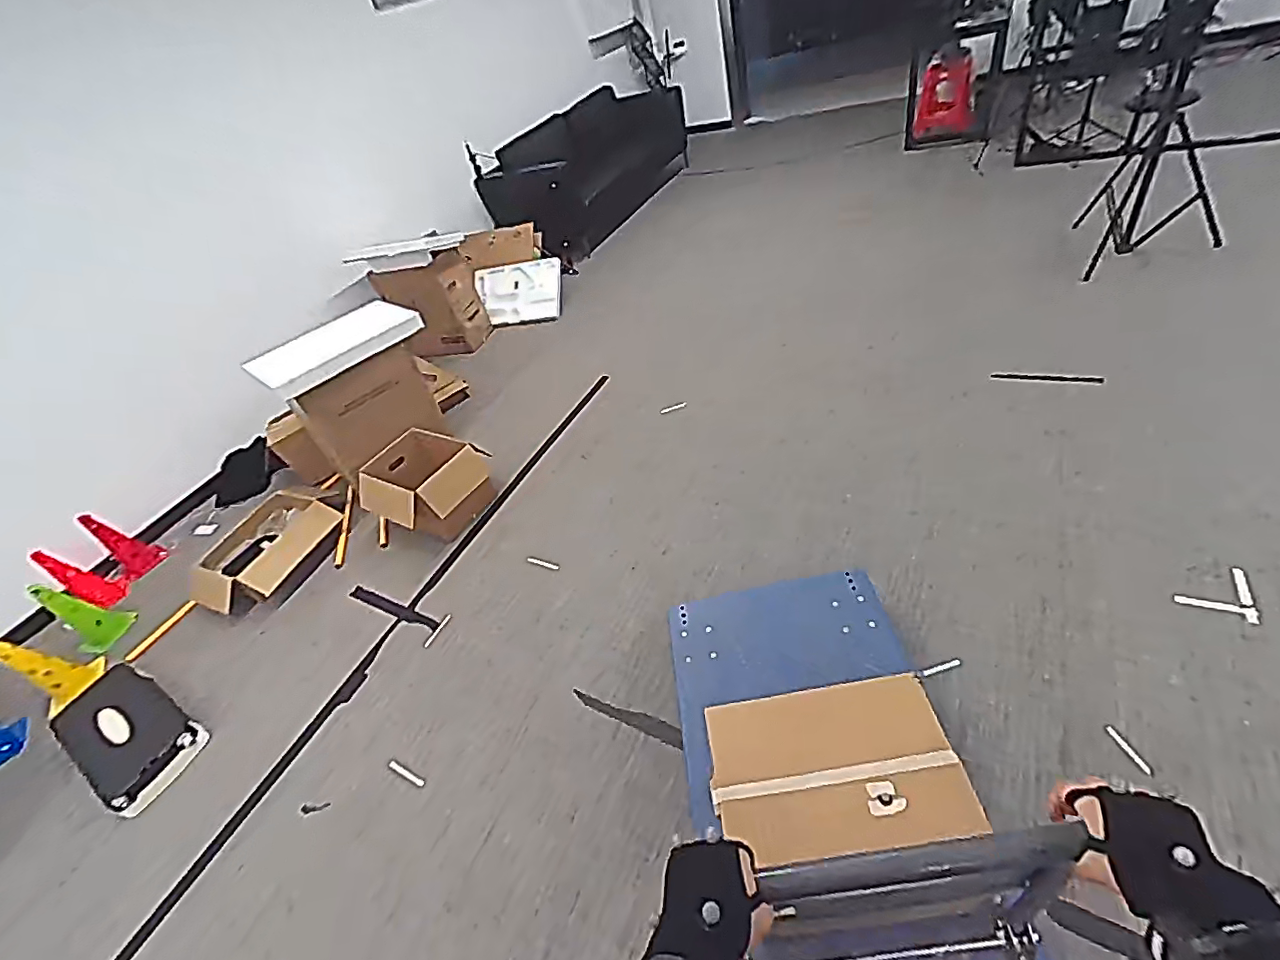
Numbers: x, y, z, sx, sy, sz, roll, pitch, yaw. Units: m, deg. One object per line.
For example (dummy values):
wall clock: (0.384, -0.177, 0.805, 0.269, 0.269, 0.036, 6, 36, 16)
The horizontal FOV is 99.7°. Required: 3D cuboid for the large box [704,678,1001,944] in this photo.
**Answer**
large box: (0.357, 0.621, 1.012, 0.408, 0.320, 0.320, -12, 42, 5)
